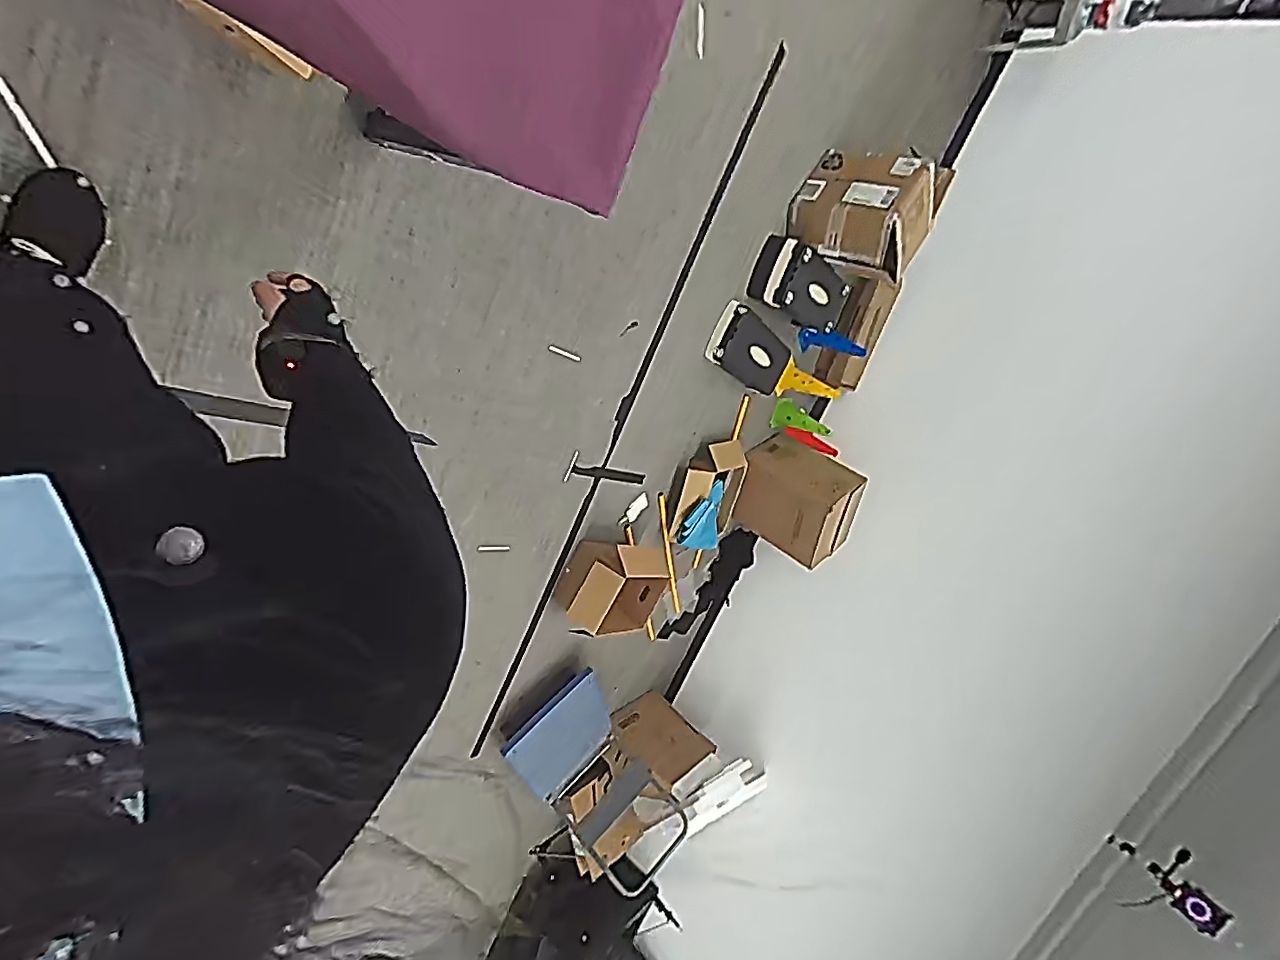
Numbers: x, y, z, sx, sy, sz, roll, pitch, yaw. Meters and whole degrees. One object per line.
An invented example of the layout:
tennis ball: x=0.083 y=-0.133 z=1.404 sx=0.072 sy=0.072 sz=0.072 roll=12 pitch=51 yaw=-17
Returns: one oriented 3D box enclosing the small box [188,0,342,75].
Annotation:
small box: x=-0.652 y=-0.844 z=0.931 sx=0.168 sy=0.176 sz=0.179 roll=22 pitch=99 yaw=-56
